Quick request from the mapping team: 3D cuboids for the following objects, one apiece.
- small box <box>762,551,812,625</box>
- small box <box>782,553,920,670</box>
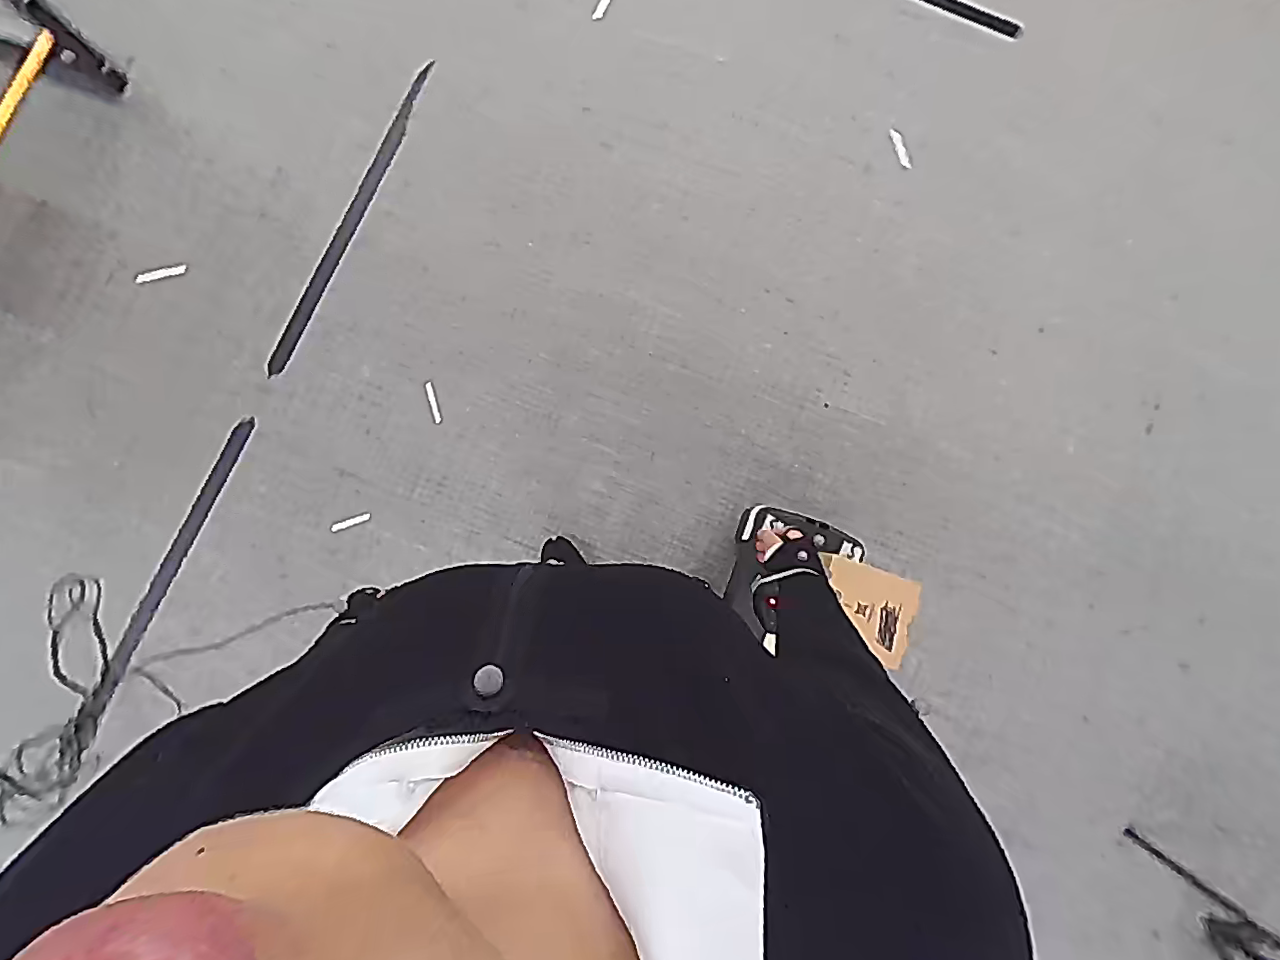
[{"bbox_3d":[0.395,0.263,1.229,0.179,0.176,0.168,21,84,0],"label":"small box"},{"bbox_3d":[0.406,0.247,1.066,0.179,0.176,0.168,20,84,0],"label":"small box"}]
